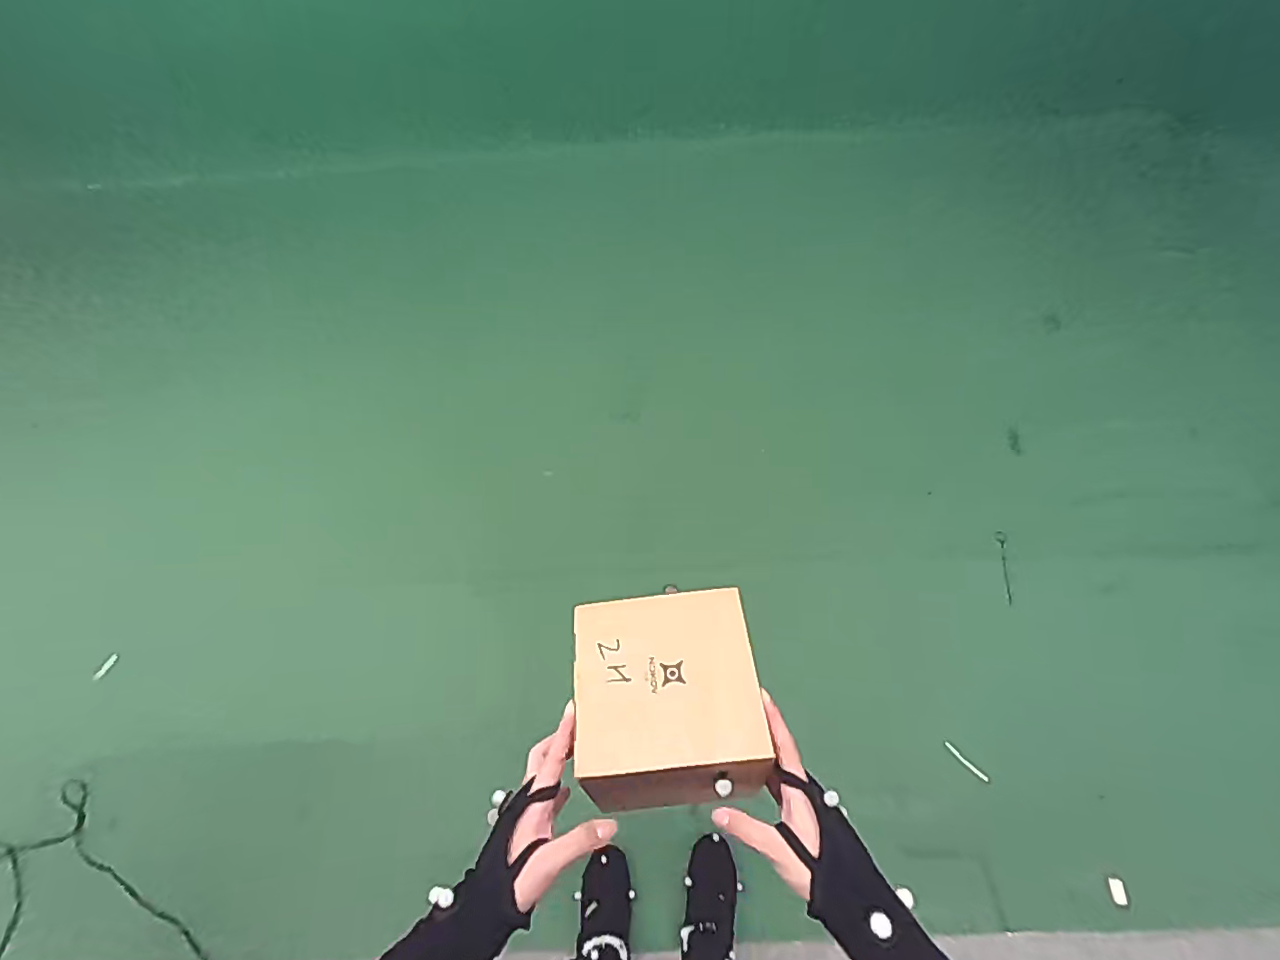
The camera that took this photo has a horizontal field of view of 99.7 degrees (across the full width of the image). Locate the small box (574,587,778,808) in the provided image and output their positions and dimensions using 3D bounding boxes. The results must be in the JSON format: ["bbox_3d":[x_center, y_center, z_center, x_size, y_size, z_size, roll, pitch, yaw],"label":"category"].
[{"bbox_3d":[0.032,0.231,0.567,0.179,0.176,0.168,-7,50,2],"label":"small box"}]
